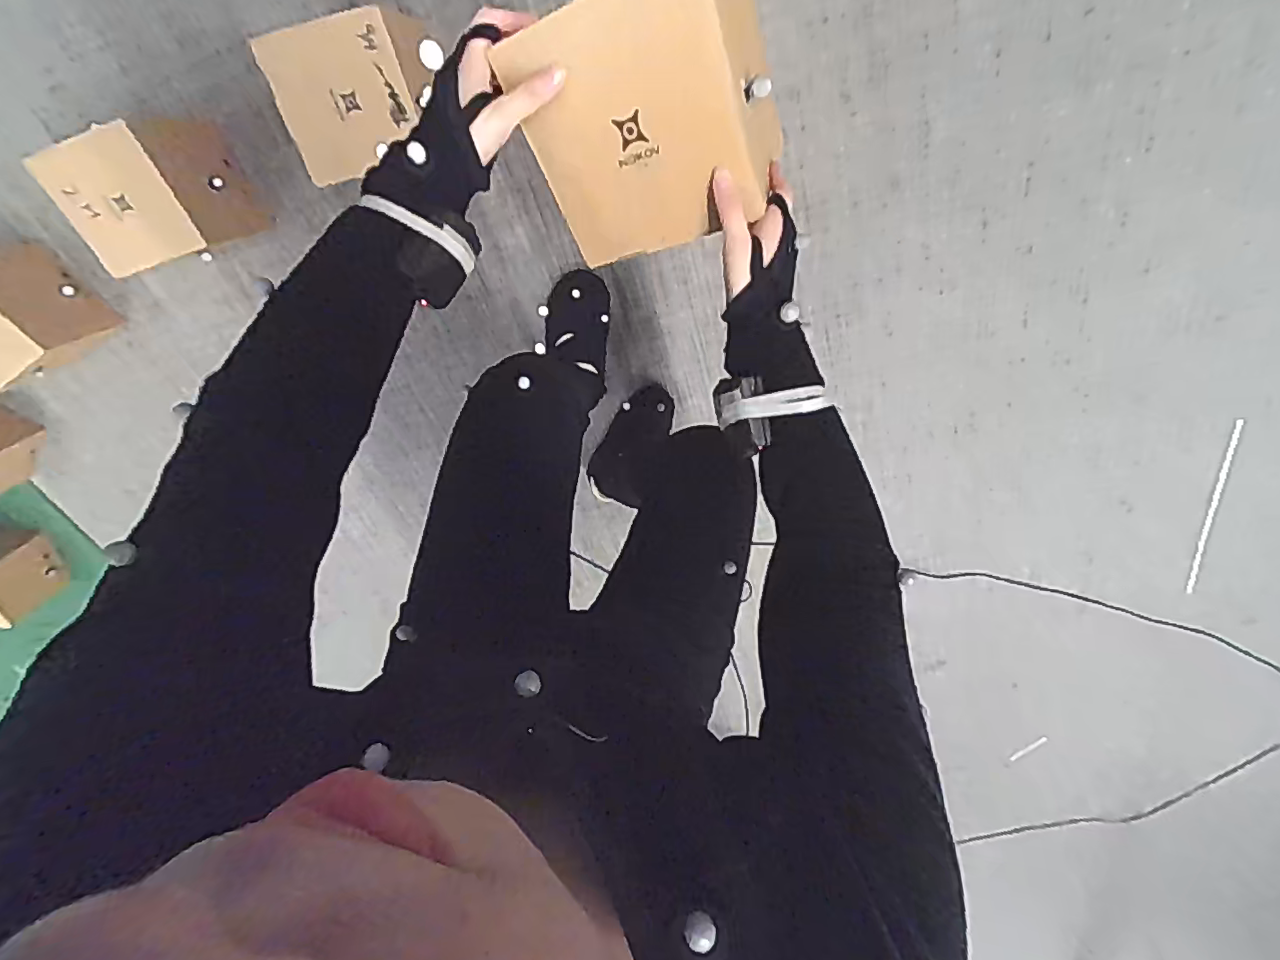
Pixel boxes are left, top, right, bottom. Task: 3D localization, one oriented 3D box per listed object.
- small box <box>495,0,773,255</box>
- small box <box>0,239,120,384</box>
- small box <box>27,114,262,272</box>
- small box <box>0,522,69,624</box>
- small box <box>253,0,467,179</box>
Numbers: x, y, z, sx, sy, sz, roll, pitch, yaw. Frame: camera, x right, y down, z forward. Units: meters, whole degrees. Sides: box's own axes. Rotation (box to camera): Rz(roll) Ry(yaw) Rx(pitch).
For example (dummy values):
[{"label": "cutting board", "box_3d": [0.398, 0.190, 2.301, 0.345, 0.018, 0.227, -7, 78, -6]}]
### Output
[{"label": "small box", "box_3d": [0.013, -0.333, 0.466, 0.168, 0.176, 0.179, -5, 137, 25]}, {"label": "small box", "box_3d": [-1.079, -0.289, 0.935, 0.179, 0.176, 0.168, -24, 119, 16]}, {"label": "small box", "box_3d": [-0.727, -0.439, 0.826, 0.179, 0.176, 0.168, -13, 121, 10]}, {"label": "small box", "box_3d": [-1.543, 0.213, 1.281, 0.179, 0.176, 0.168, 7, 123, -3]}, {"label": "small box", "box_3d": [-0.370, -0.531, 0.754, 0.179, 0.176, 0.168, -8, 123, 8]}]
